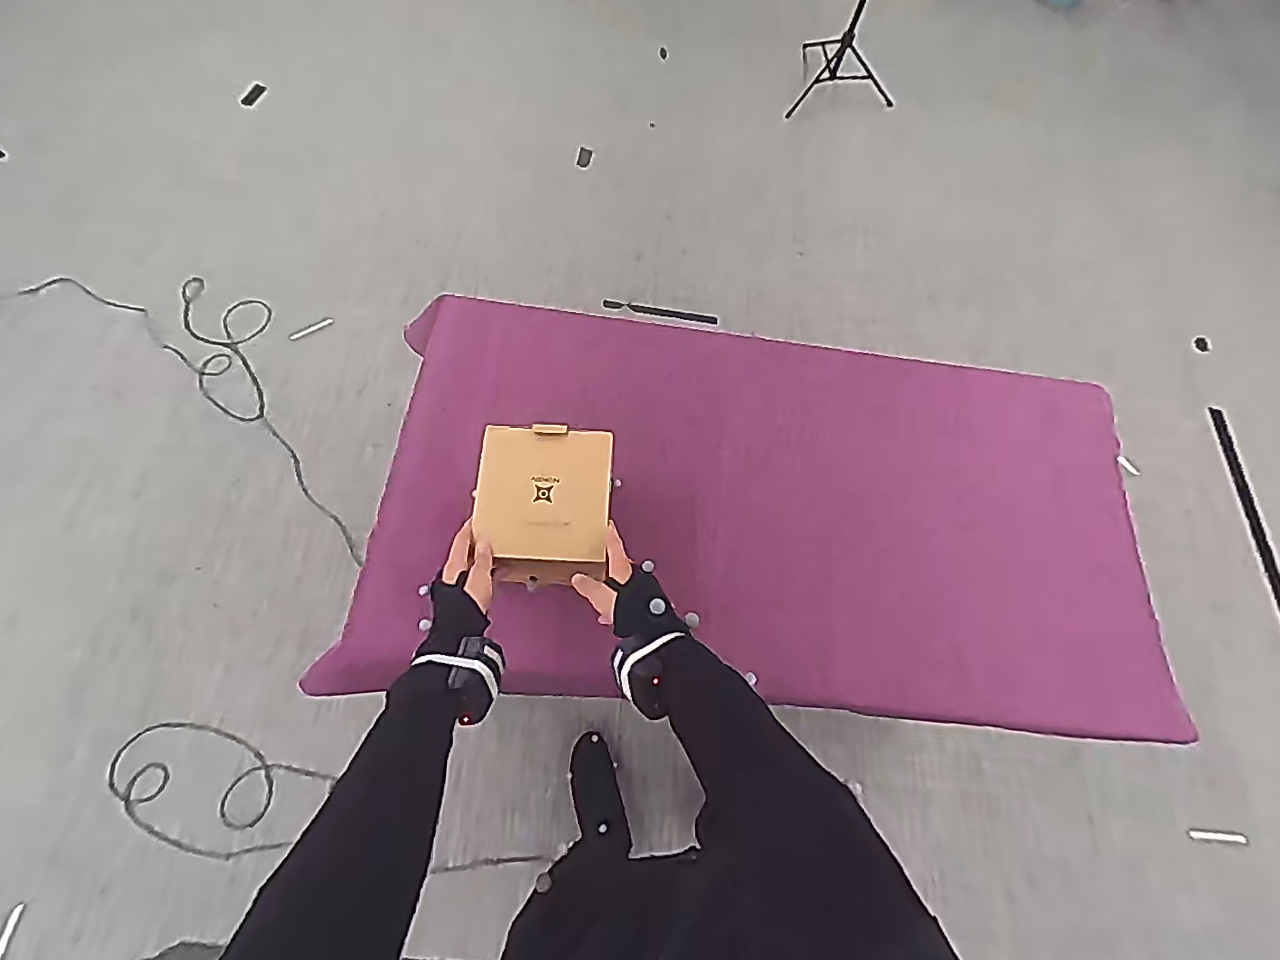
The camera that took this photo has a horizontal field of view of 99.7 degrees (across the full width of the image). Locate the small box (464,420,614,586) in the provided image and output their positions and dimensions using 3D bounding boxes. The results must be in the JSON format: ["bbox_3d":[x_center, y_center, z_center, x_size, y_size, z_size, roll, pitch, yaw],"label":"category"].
[{"bbox_3d":[-0.127,0.038,0.737,0.168,0.176,0.179,4,69,-3],"label":"small box"}]
